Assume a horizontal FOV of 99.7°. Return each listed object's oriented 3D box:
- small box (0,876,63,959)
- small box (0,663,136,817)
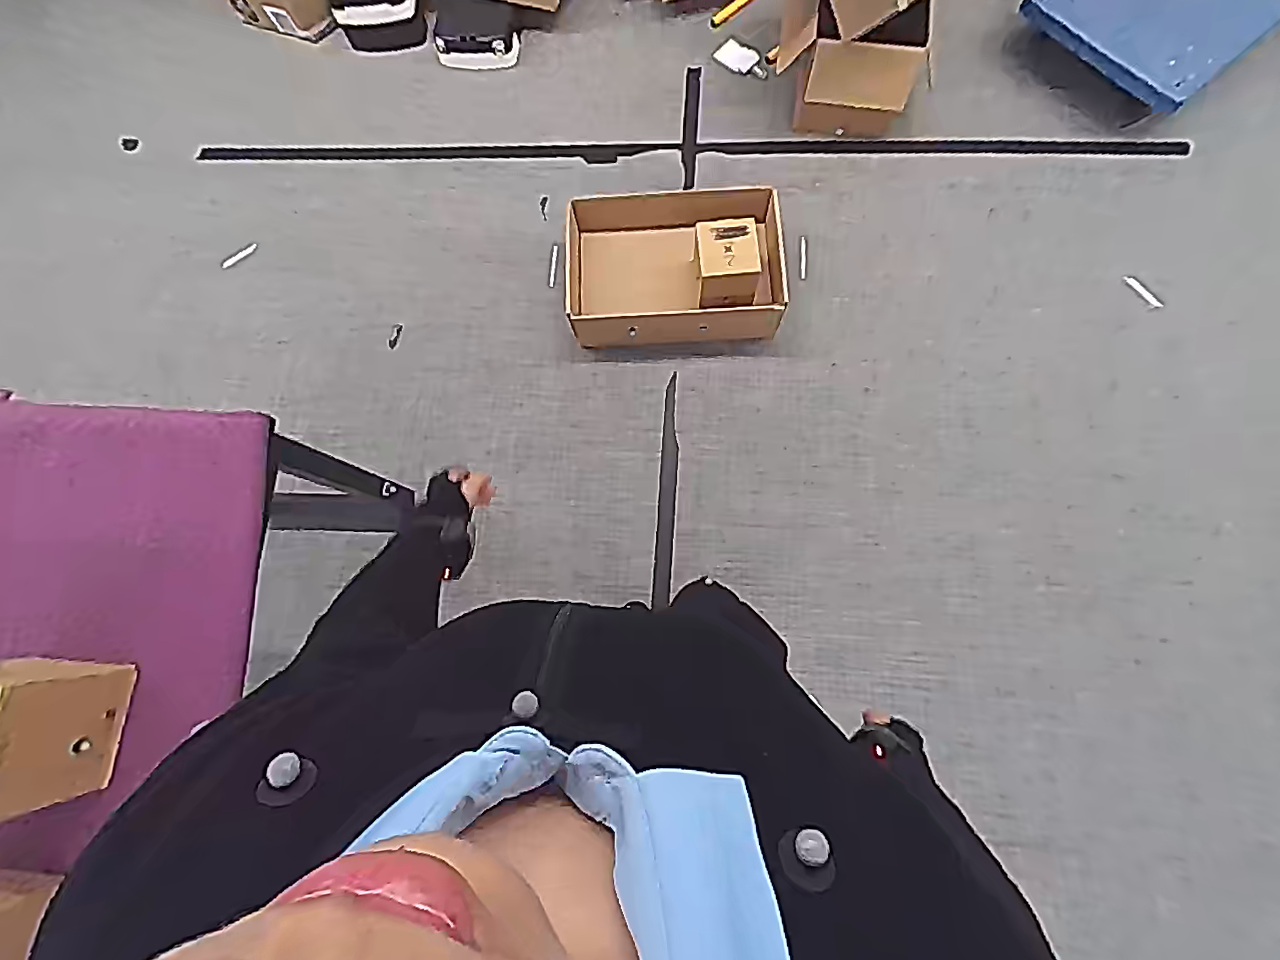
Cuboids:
[{"bbox_3d":[-0.879,0.614,0.657,0.168,0.176,0.179,3,77,5],"label":"small box"},{"bbox_3d":[-0.848,0.341,0.720,0.179,0.176,0.168,3,77,5],"label":"small box"}]
